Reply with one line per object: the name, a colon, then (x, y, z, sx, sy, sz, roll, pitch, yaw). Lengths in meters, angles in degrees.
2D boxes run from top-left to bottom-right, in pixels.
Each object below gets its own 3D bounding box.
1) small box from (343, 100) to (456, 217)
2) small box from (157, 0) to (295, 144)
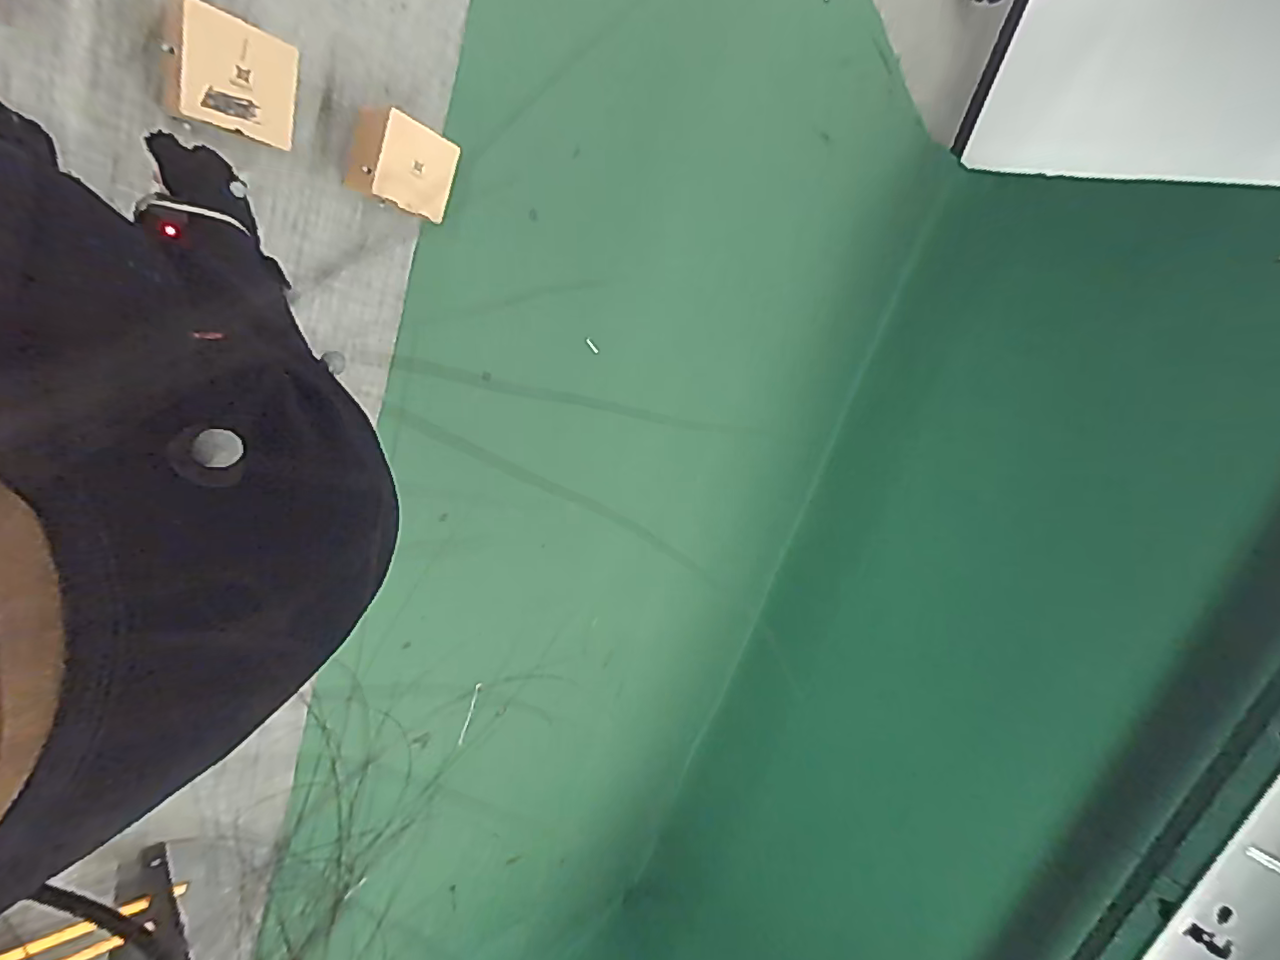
small box: (-0.556, -0.734, 1.241, 0.168, 0.176, 0.179, 5, 110, -51)
small box: (-0.758, -0.745, 0.988, 0.168, 0.176, 0.179, -3, 116, -50)
